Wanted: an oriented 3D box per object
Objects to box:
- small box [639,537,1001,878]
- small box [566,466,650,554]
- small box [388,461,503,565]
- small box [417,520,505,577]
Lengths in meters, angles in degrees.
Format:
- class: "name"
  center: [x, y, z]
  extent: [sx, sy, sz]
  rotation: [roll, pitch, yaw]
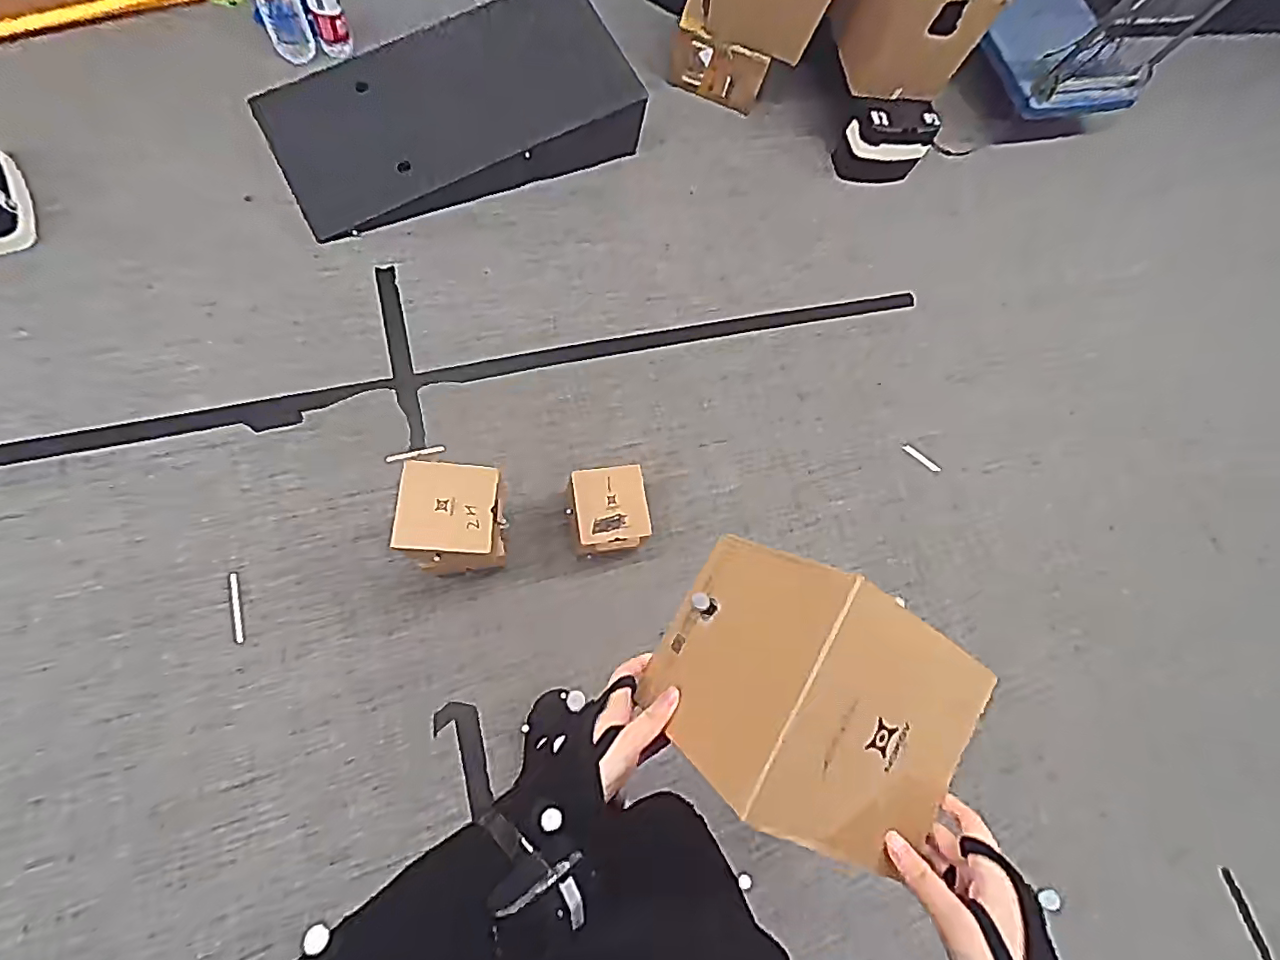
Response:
- class: "small box"
  center: [0.132, 0.161, 0.431]
  extent: [0.179, 0.176, 0.168]
  rotation: [35, 80, -23]
- class: "small box"
  center: [-0.082, 0.079, 1.297]
  extent: [0.168, 0.176, 0.179]
  rotation: [-6, 75, -14]
- class: "small box"
  center: [-0.369, 0.072, 1.059]
  extent: [0.179, 0.176, 0.168]
  rotation: [5, 74, -10]
- class: "small box"
  center: [-0.401, 0.119, 1.214]
  extent: [0.179, 0.176, 0.168]
  rotation: [-7, 76, -15]
